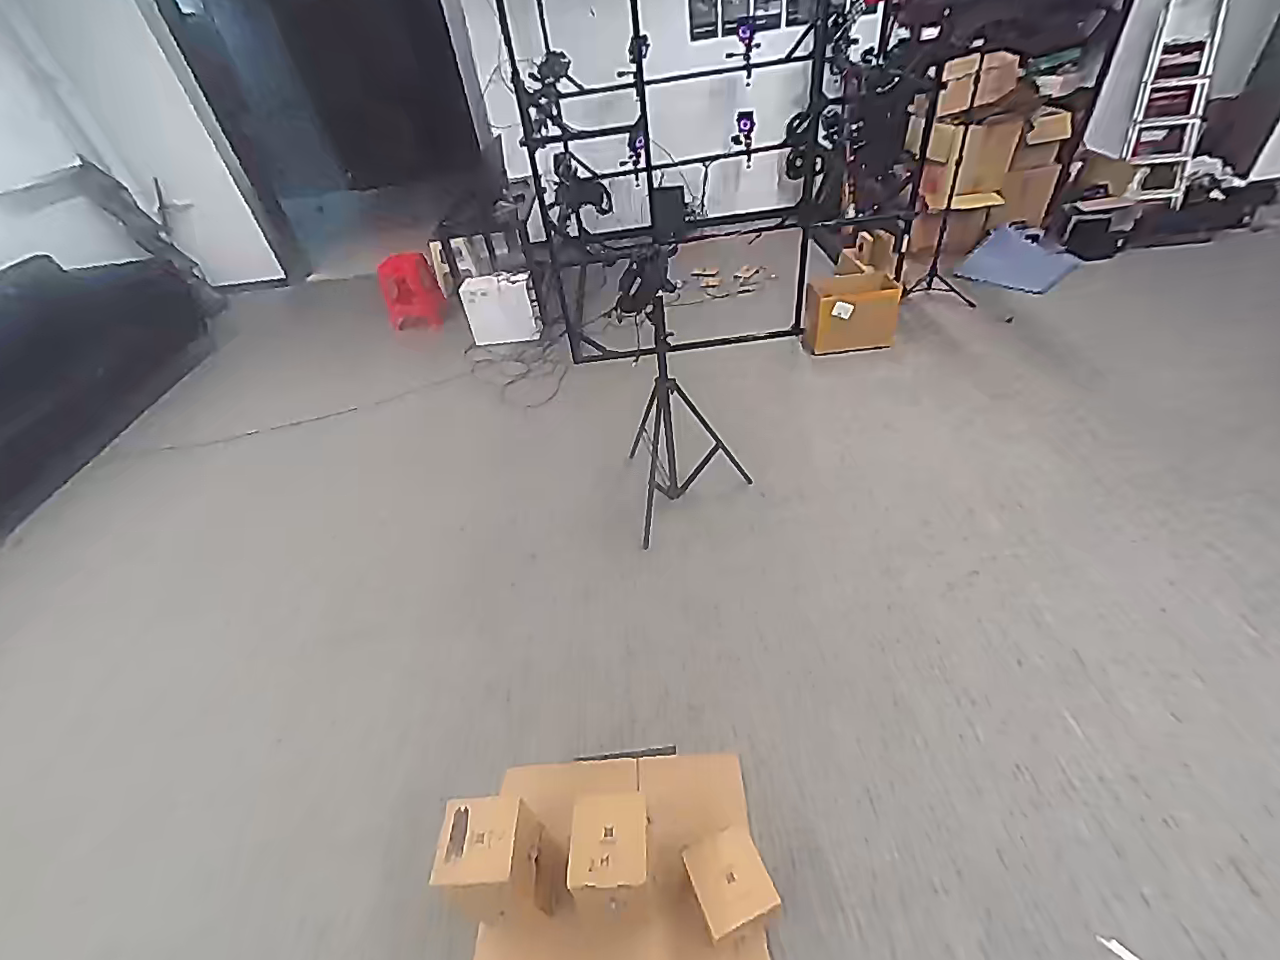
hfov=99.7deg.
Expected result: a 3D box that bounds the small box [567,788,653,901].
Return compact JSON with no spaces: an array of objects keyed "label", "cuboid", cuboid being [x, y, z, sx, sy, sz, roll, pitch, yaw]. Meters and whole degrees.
[{"label":"small box","cuboid":[-0.061,0.817,1.213,0.168,0.176,0.179,-4,42,4]}]

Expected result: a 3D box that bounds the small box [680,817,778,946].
[{"label":"small box","cuboid":[0.206,0.945,1.272,0.168,0.176,0.179,-20,41,-11]}]

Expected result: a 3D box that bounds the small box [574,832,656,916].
[{"label":"small box","cuboid":[-0.053,0.943,1.319,0.179,0.176,0.168,-5,41,5]}]

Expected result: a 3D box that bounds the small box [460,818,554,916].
[{"label":"small box","cuboid":[-0.318,0.960,1.341,0.179,0.176,0.168,-7,41,4]}]
